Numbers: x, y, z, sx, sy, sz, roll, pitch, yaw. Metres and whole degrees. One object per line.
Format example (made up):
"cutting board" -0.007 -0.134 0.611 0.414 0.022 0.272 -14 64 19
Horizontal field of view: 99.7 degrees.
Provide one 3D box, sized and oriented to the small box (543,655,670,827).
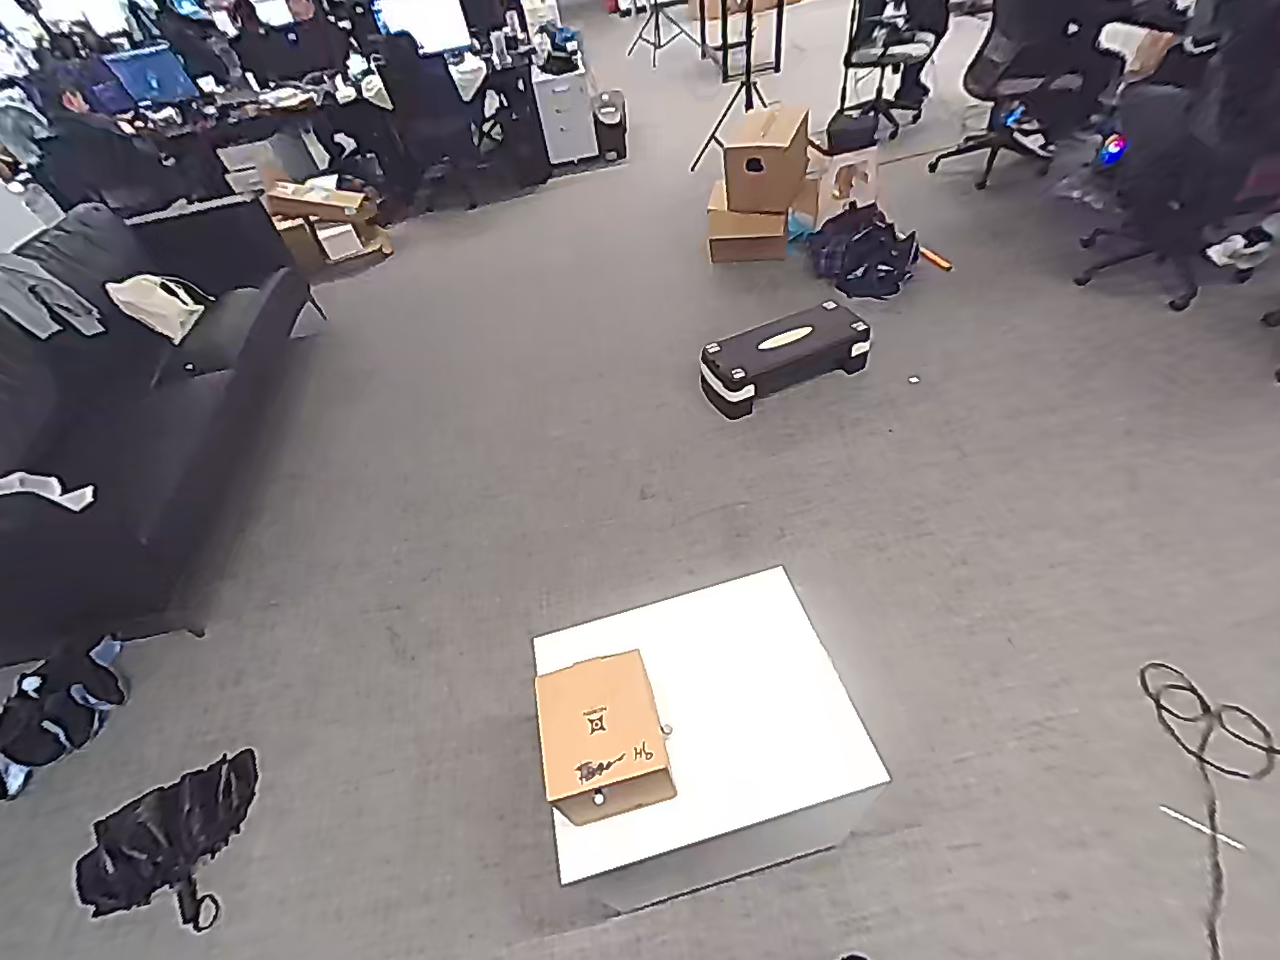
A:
"small box" -0.052 0.398 0.826 0.168 0.176 0.179 -10 46 -5
